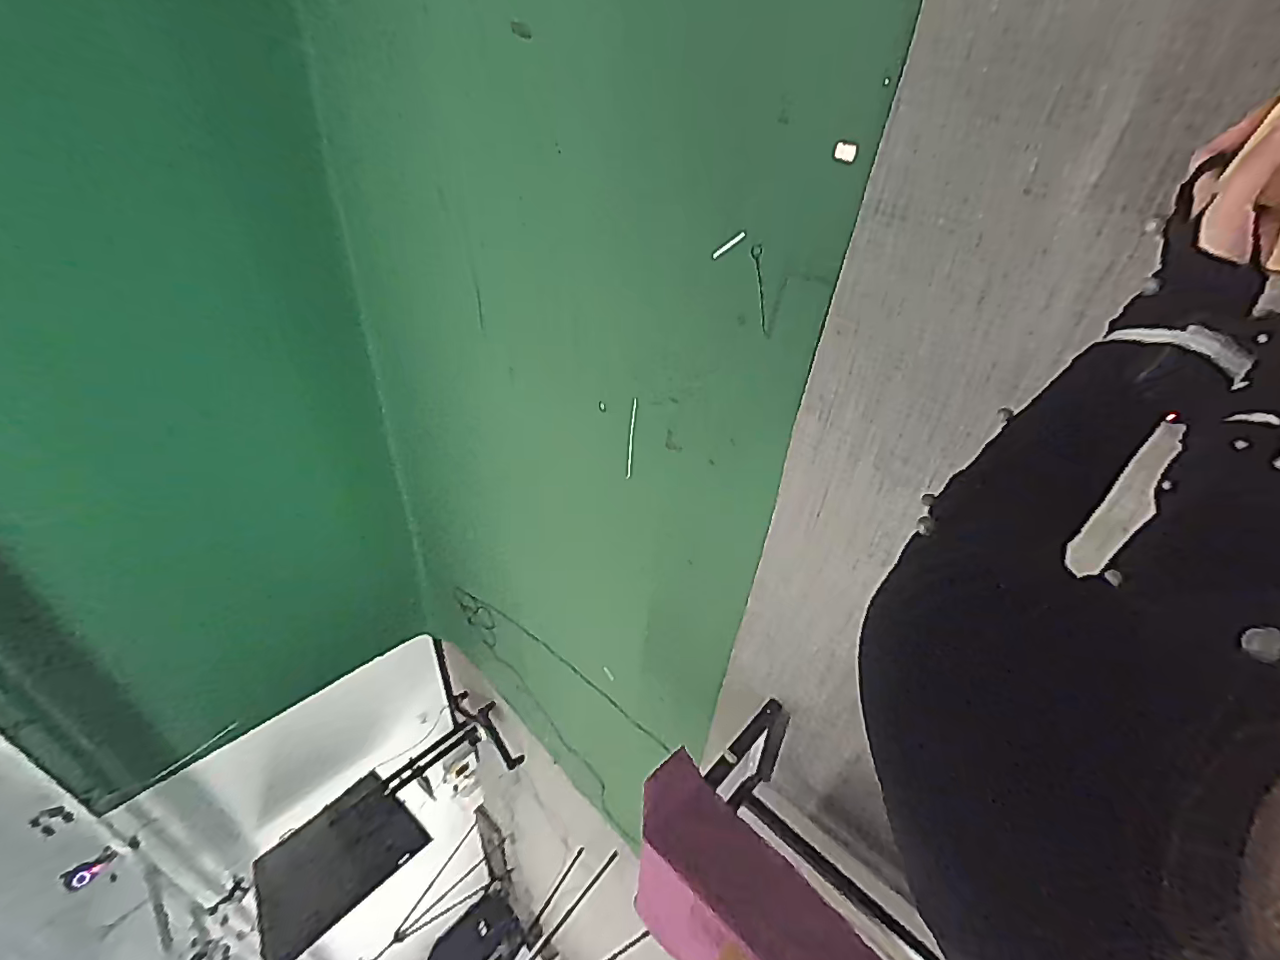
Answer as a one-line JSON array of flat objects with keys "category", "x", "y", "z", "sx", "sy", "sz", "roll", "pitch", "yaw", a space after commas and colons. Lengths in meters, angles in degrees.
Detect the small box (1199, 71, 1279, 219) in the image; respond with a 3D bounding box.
[{"category": "small box", "x": 0.514, "y": -0.254, "z": 0.326, "sx": 0.179, "sy": 0.176, "sz": 0.168, "roll": 35, "pitch": 149, "yaw": 25}]
